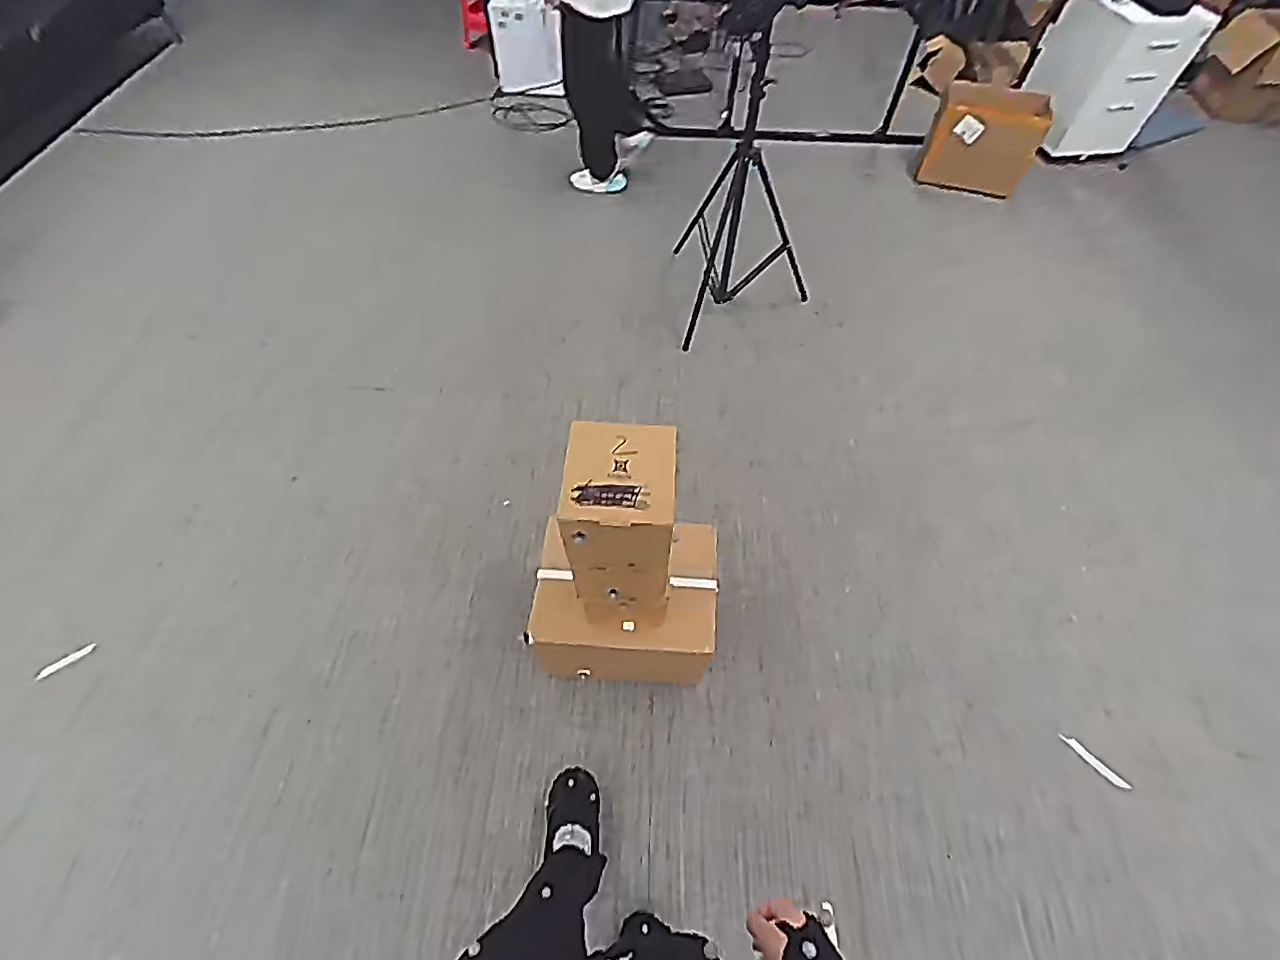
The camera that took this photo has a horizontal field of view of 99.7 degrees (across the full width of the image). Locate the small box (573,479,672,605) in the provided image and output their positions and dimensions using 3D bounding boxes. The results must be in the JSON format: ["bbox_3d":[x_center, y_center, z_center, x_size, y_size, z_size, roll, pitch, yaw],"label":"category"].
[{"bbox_3d":[-0.029,0.118,1.006,0.168,0.176,0.179,2,59,1],"label":"small box"}]

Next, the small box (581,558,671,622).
[{"bbox_3d":[-0.026,0.197,1.148,0.179,0.176,0.168,2,59,0],"label":"small box"}]
